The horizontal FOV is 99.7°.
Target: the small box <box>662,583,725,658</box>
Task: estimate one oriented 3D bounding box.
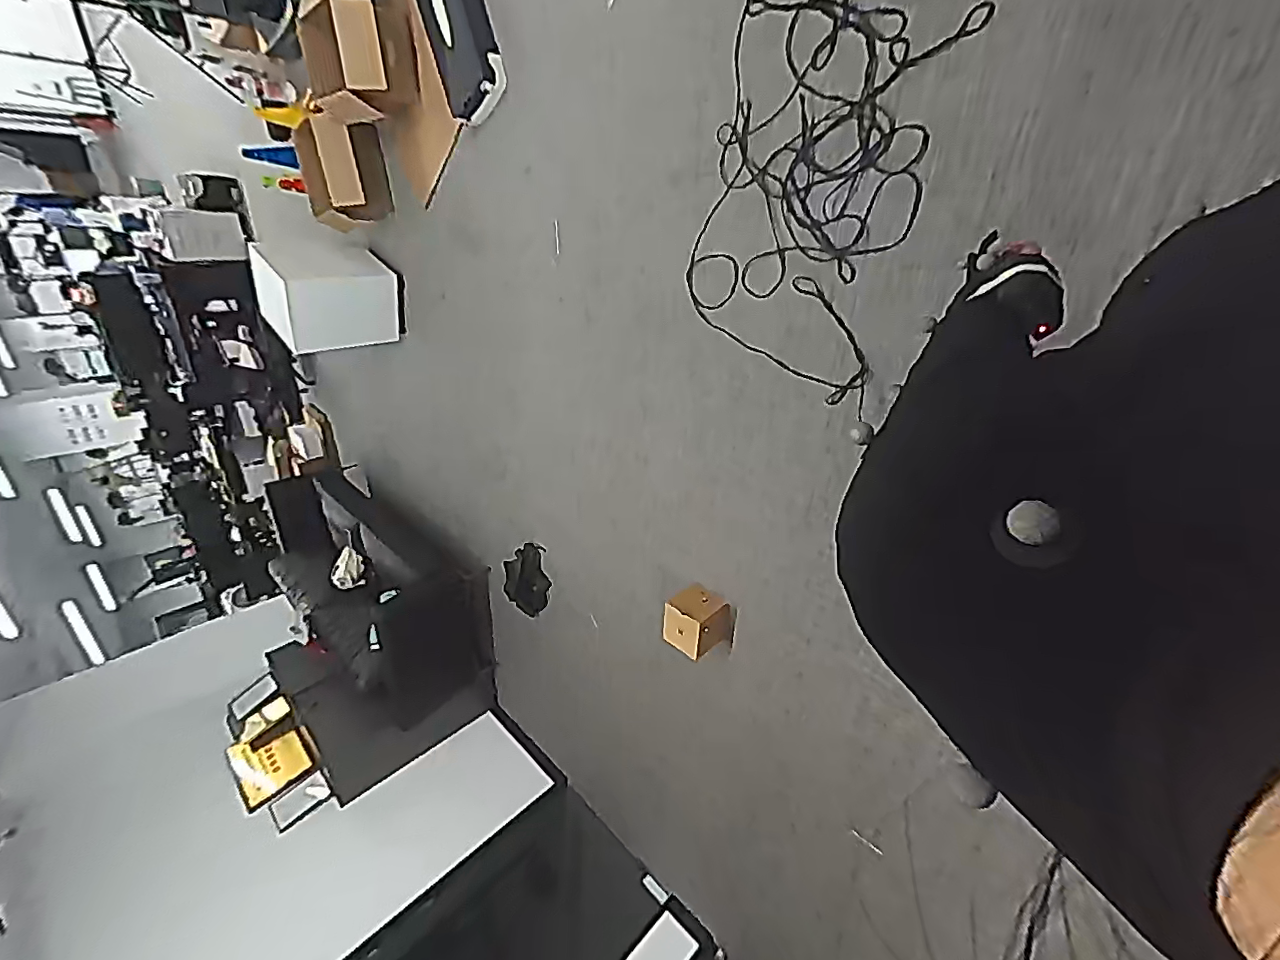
[{"bbox_3d":[0.198,0.516,2.002,0.168,0.176,0.179,25,124,39],"label":"small box"}]
